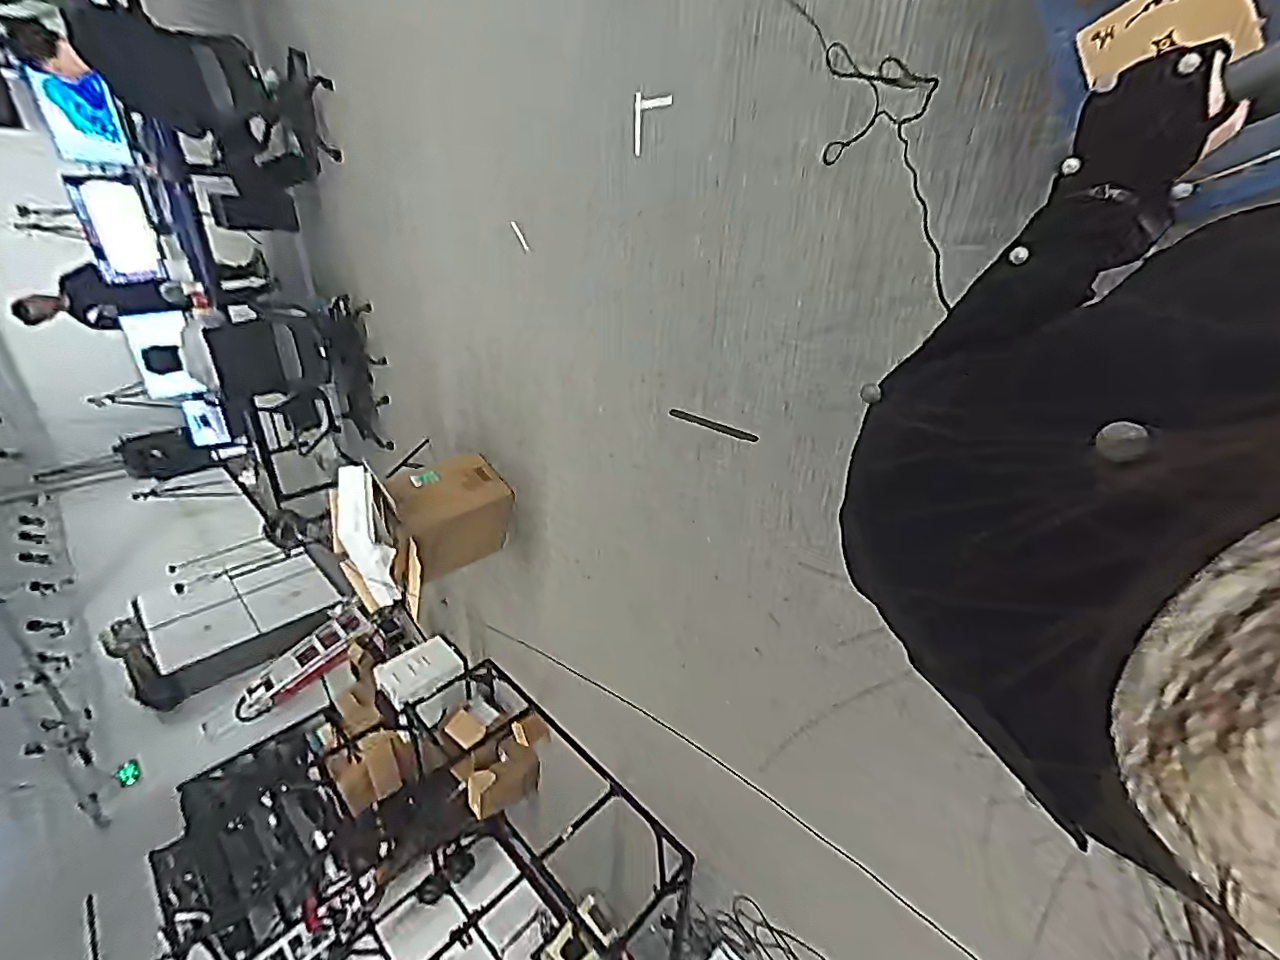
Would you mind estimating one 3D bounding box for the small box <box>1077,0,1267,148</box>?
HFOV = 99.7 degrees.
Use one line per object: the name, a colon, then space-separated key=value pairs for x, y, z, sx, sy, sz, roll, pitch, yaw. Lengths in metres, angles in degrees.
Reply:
small box: x=0.780 y=-0.622 z=0.798 sx=0.168 sy=0.176 sz=0.179 roll=-15 pitch=97 yaw=47
